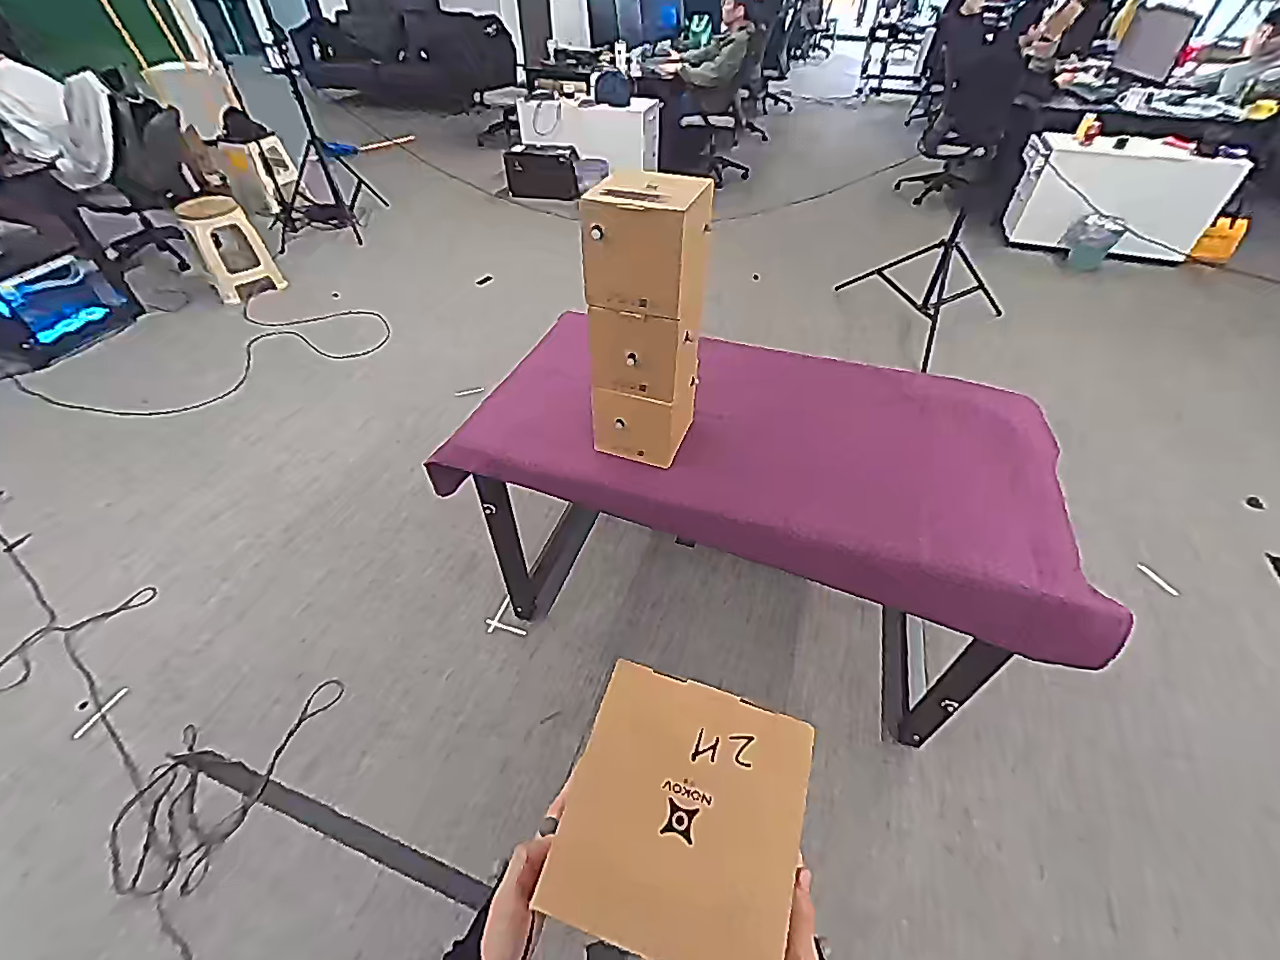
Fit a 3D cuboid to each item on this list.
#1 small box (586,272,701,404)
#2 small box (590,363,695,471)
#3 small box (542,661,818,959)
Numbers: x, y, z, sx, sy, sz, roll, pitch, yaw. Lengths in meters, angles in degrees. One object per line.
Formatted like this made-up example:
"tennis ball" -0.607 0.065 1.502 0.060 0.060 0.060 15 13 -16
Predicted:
"small box" 0.011 -0.265 1.018 0.168 0.176 0.179 14 46 12
"small box" 0.009 -0.144 1.129 0.168 0.176 0.179 15 46 14
"small box" 0.037 0.287 0.457 0.168 0.176 0.179 16 54 10
